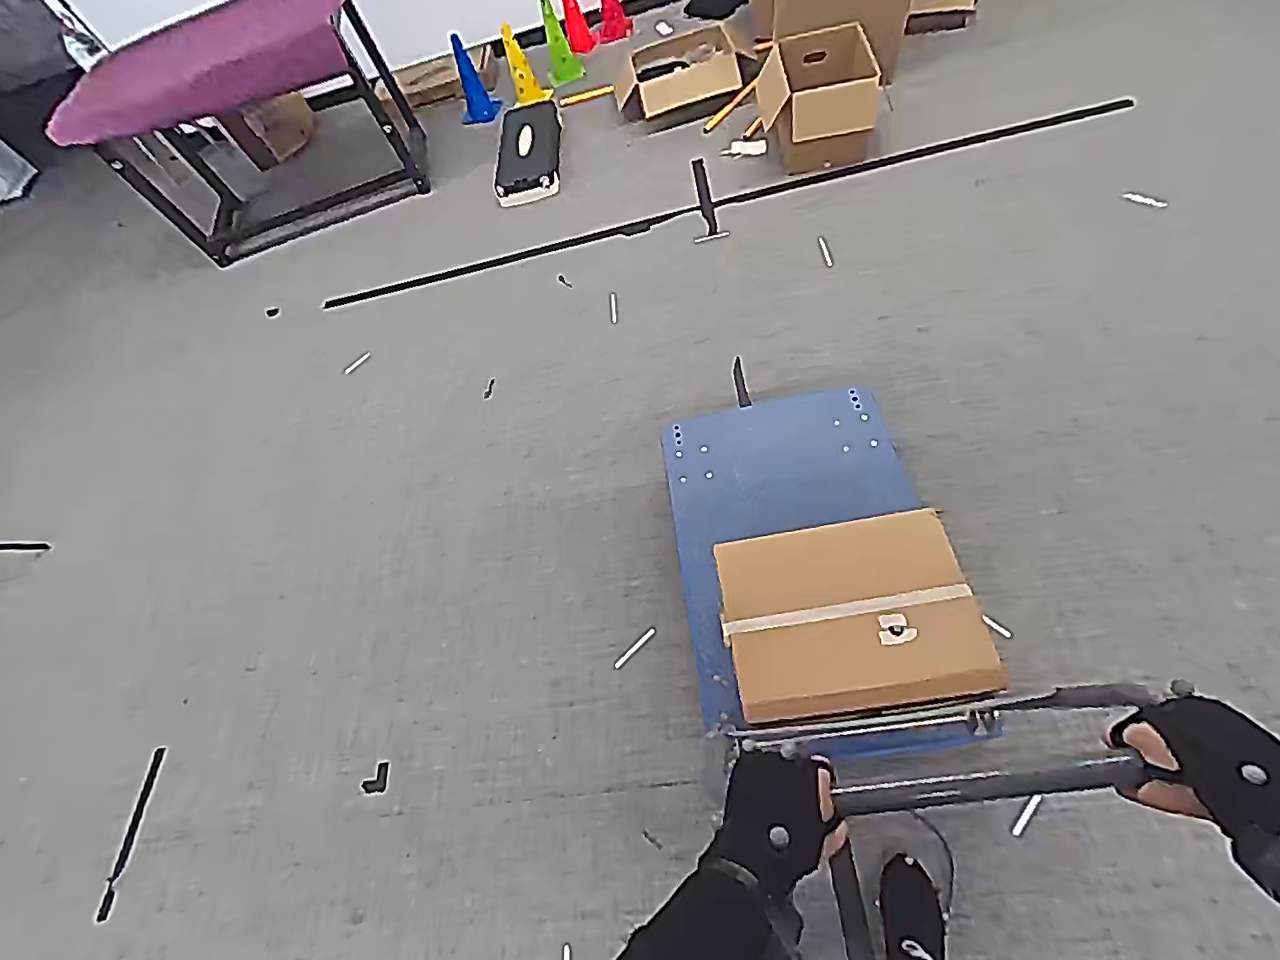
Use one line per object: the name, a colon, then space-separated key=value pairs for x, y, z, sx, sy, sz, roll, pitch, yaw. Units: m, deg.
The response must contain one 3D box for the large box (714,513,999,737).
large box: x=0.377 y=0.300 z=1.062 sx=0.408 sy=0.320 sz=0.320 roll=-11 pitch=62 yaw=6
